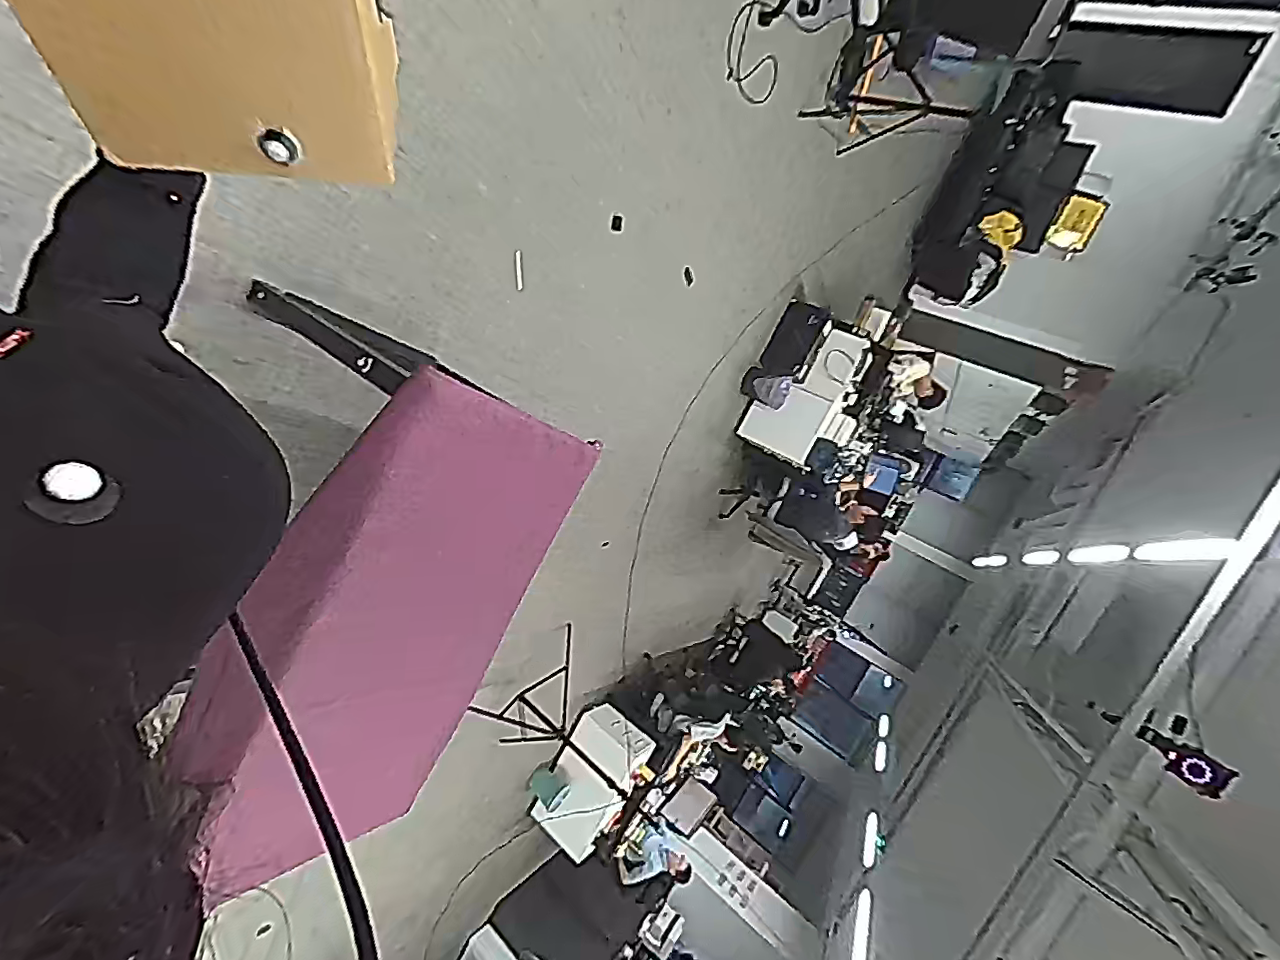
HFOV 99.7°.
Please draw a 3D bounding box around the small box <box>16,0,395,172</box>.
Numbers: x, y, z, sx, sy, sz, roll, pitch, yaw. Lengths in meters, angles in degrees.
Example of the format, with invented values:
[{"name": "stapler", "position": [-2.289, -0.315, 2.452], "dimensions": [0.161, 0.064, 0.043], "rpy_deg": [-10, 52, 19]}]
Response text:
[{"name": "small box", "position": [-0.248, -0.322, 0.321], "dimensions": [0.168, 0.179, 0.176], "rpy_deg": [-3, 150, -15]}]
